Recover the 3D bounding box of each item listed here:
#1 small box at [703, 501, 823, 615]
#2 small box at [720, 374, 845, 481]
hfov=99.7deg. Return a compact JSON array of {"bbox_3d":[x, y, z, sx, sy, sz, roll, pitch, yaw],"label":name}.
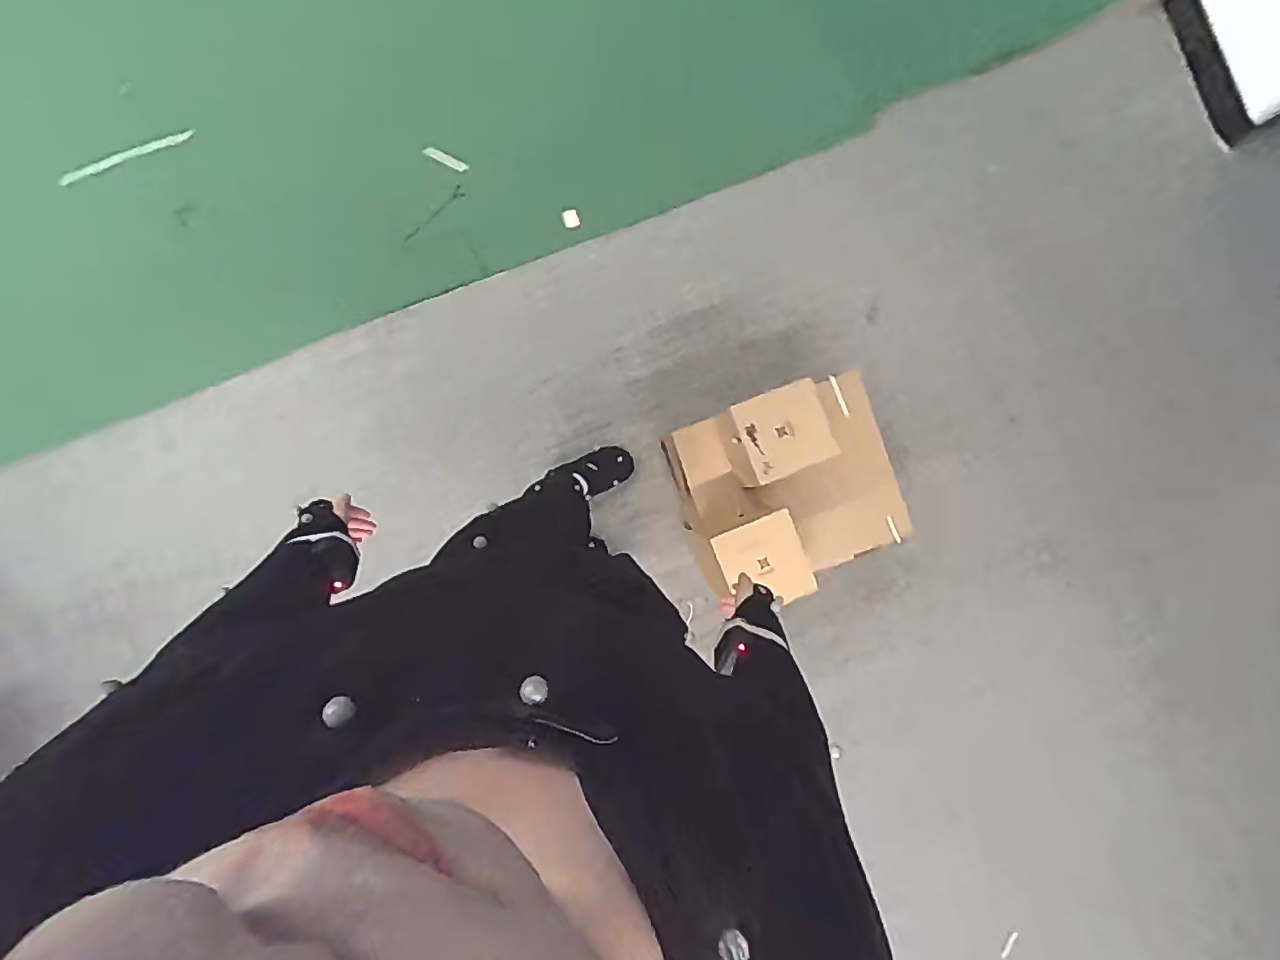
[{"bbox_3d":[0.246,0.153,1.119,0.168,0.176,0.179,-22,91,-3],"label":"small box"},{"bbox_3d":[0.286,-0.103,1.123,0.179,0.176,0.168,-21,91,-4],"label":"small box"}]
